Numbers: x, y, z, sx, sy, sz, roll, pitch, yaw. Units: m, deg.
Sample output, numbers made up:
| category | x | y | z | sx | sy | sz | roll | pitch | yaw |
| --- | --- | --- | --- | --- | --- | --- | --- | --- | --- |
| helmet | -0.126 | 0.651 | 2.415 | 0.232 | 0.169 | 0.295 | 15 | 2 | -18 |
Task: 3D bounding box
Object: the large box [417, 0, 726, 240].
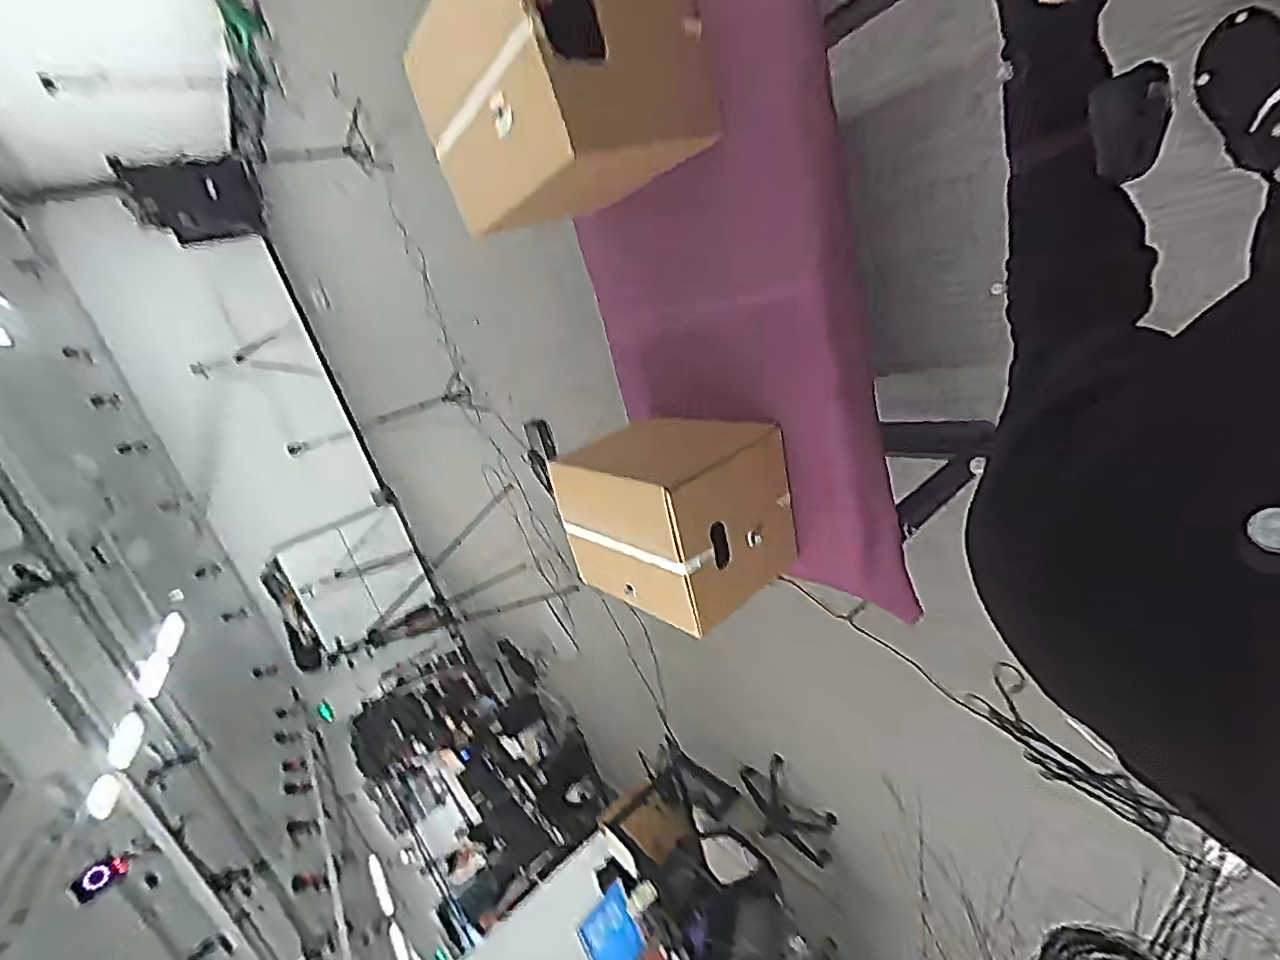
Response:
| category | x | y | z | sx | sy | sz | roll | pitch | yaw |
| --- | --- | --- | --- | --- | --- | --- | --- | --- | --- |
| large box | -0.126 | -0.655 | 0.928 | 0.408 | 0.320 | 0.320 | 5 | 119 | 53 |
